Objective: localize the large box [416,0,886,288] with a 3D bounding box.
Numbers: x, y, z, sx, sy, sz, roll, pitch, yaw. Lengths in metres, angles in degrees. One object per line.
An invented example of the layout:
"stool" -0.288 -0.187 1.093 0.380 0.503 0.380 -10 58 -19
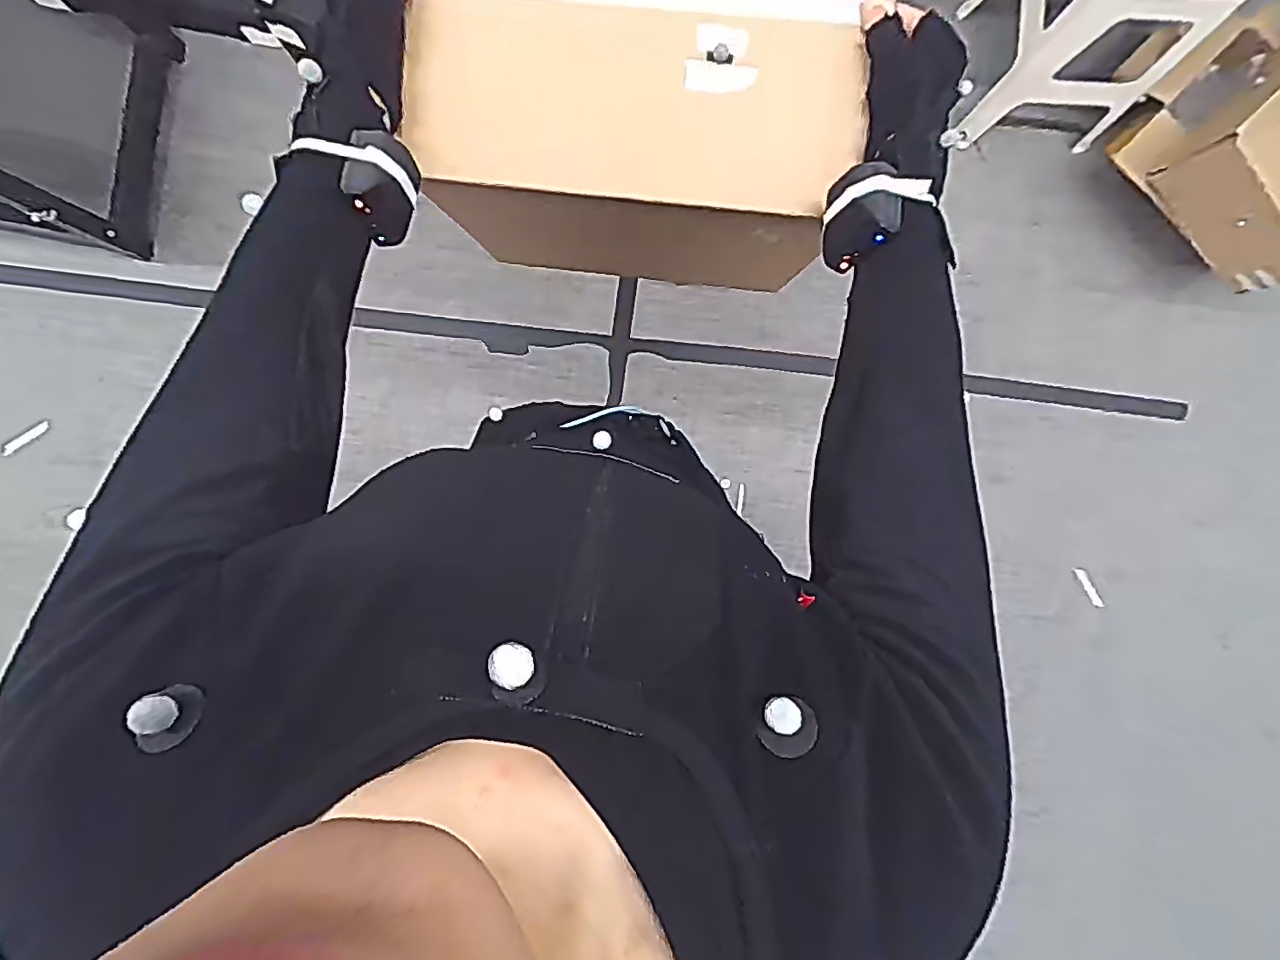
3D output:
"large box" 0.009 -0.420 0.608 0.408 0.320 0.320 6 99 0
